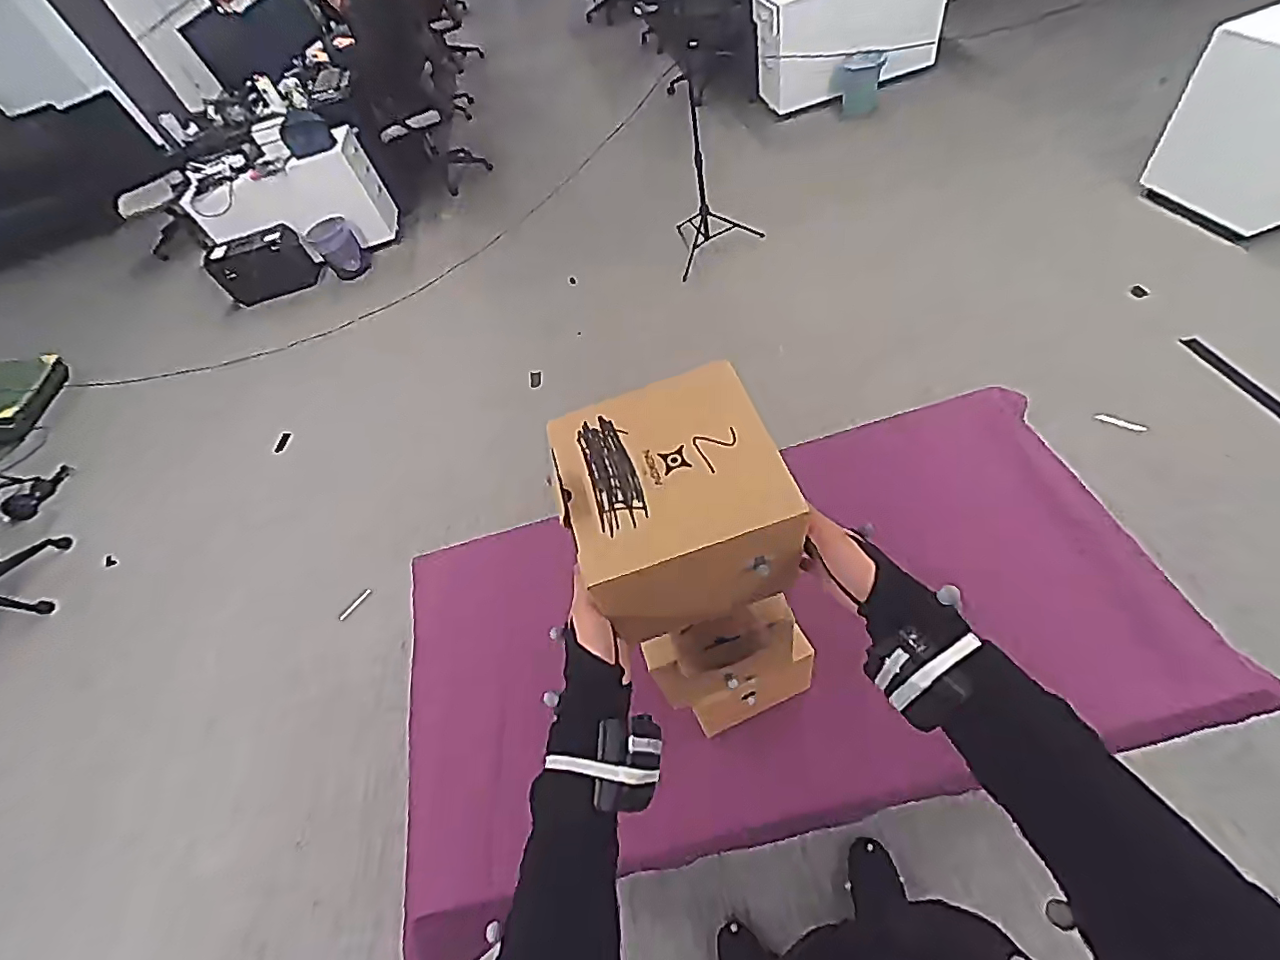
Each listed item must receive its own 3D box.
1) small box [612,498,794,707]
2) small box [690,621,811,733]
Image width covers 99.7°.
[{"bbox_3d":[0.079,0.158,0.682,0.168,0.176,0.179,-21,52,0],"label":"small box"},{"bbox_3d":[0.135,0.252,0.807,0.179,0.176,0.168,-24,52,-4],"label":"small box"}]
